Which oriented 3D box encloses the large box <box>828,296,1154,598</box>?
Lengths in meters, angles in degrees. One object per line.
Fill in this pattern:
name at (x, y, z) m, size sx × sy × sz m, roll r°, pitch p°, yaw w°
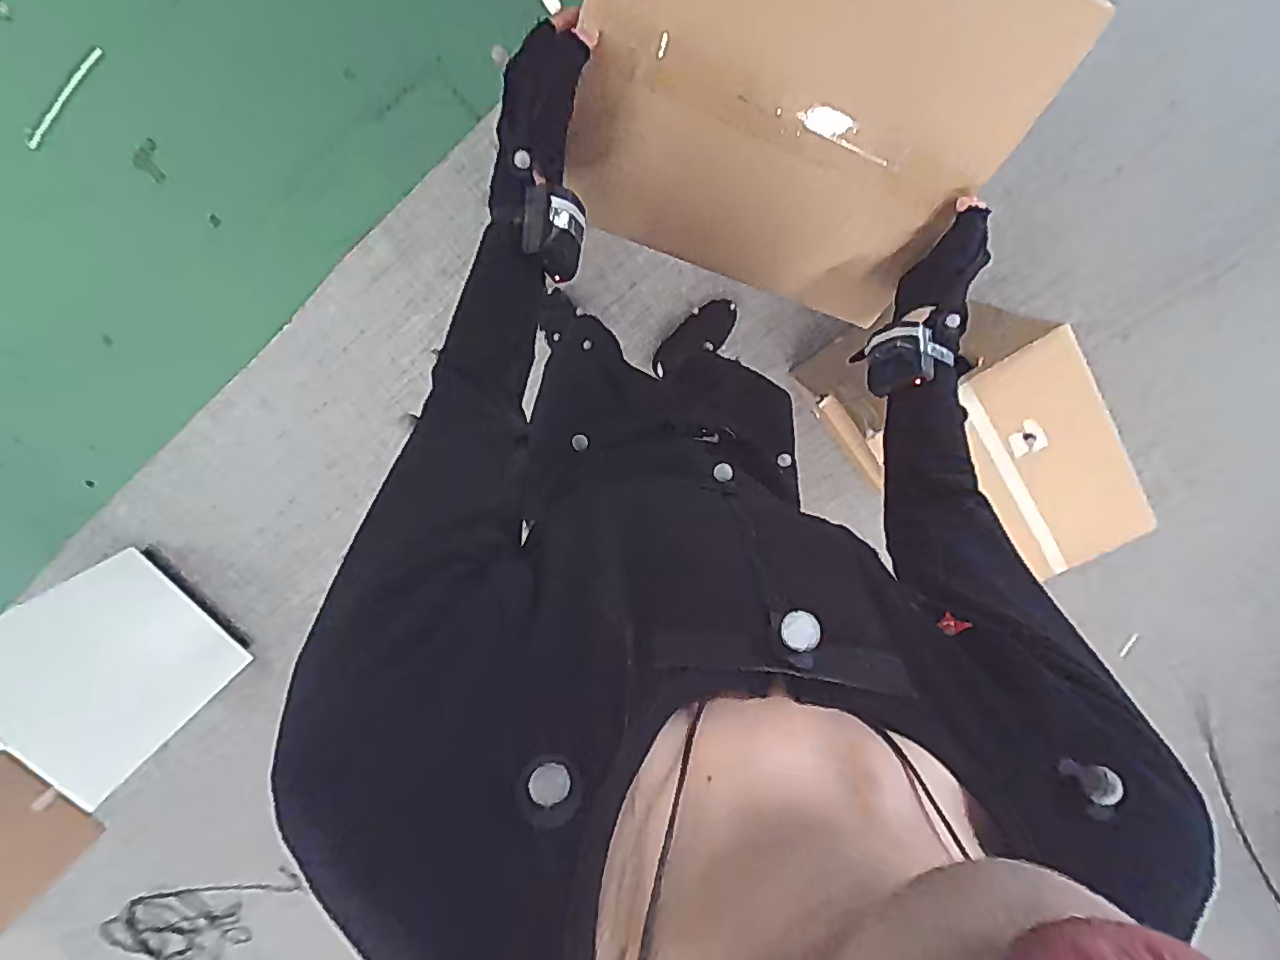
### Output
large box at (0.607, -0.069, 1.000) m, size 0.320 × 0.320 × 0.408 m, roll -32°, pitch 106°, yaw 19°
